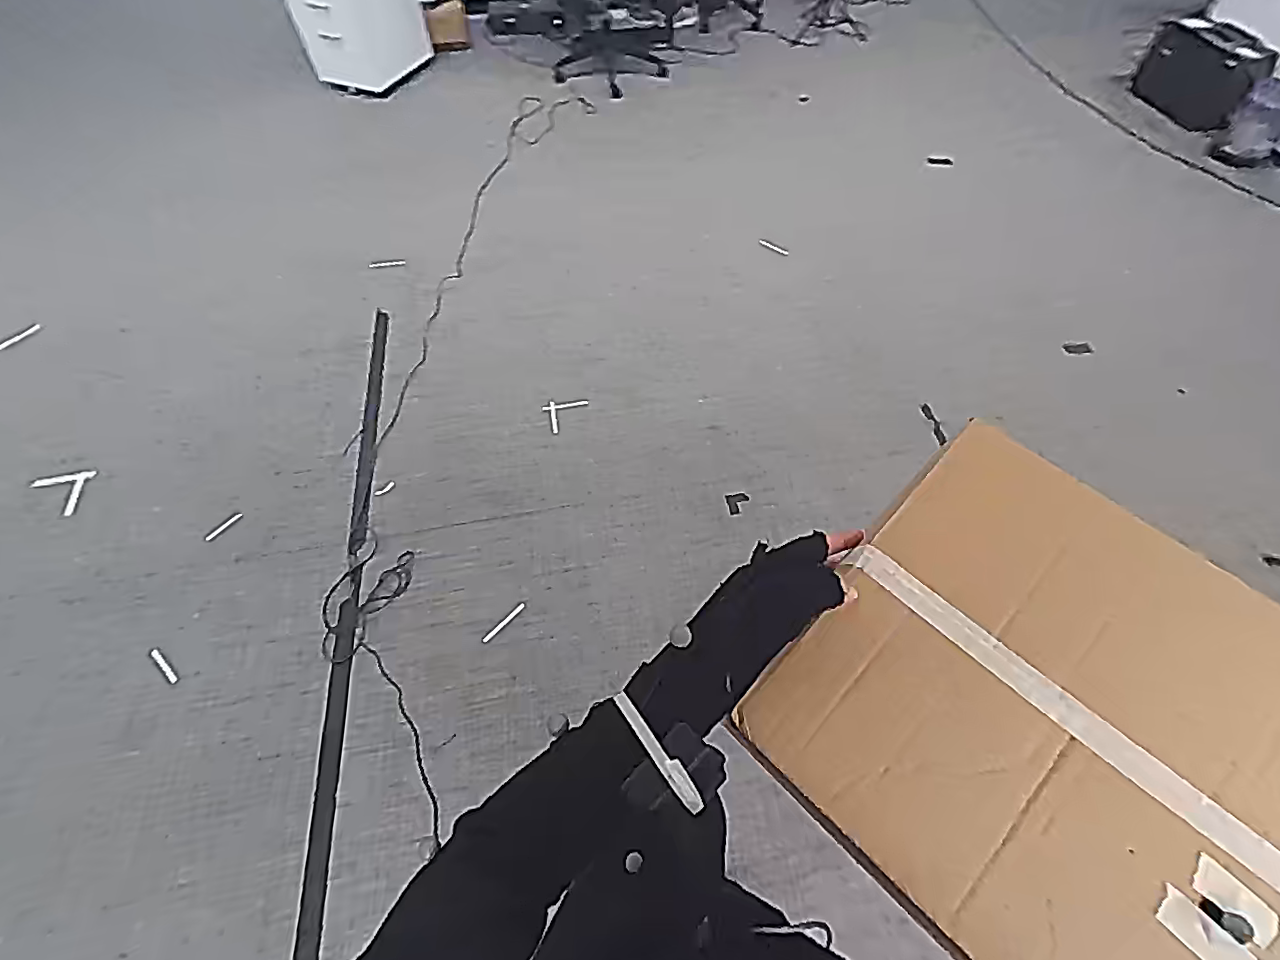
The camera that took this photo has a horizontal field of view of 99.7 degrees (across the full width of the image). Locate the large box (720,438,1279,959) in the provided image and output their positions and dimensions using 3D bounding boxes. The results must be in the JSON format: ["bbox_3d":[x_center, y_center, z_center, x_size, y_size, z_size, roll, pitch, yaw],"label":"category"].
[{"bbox_3d":[0.326,0.241,0.493,0.408,0.320,0.320,40,77,20],"label":"large box"}]
